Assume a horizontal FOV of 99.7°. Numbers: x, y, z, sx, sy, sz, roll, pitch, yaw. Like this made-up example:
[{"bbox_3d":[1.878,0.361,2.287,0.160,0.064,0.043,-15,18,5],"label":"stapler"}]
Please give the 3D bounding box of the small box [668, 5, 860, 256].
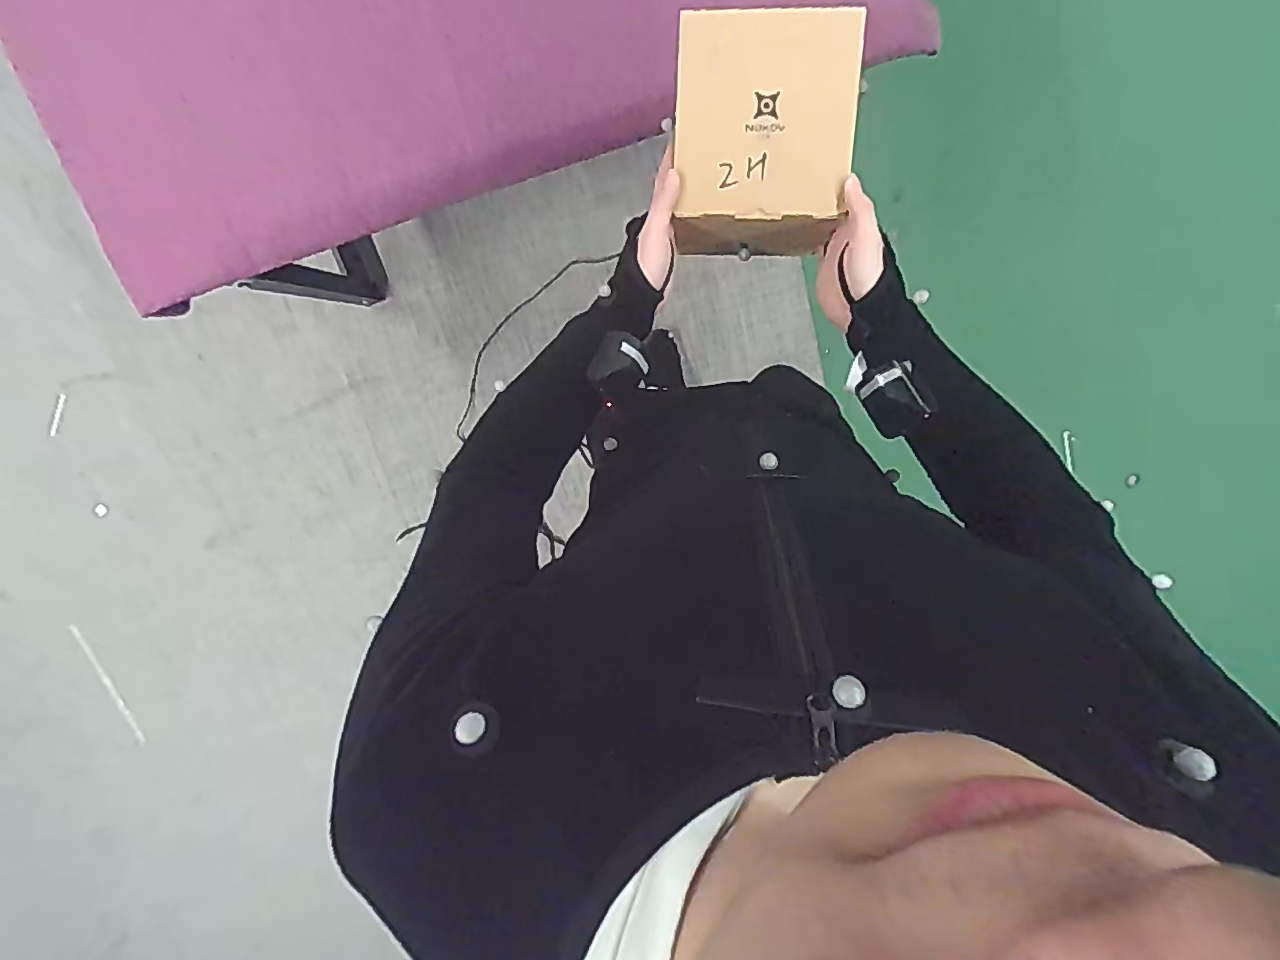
[{"bbox_3d":[0.118,-0.353,0.576,0.168,0.176,0.179,3,101,5],"label":"small box"}]
